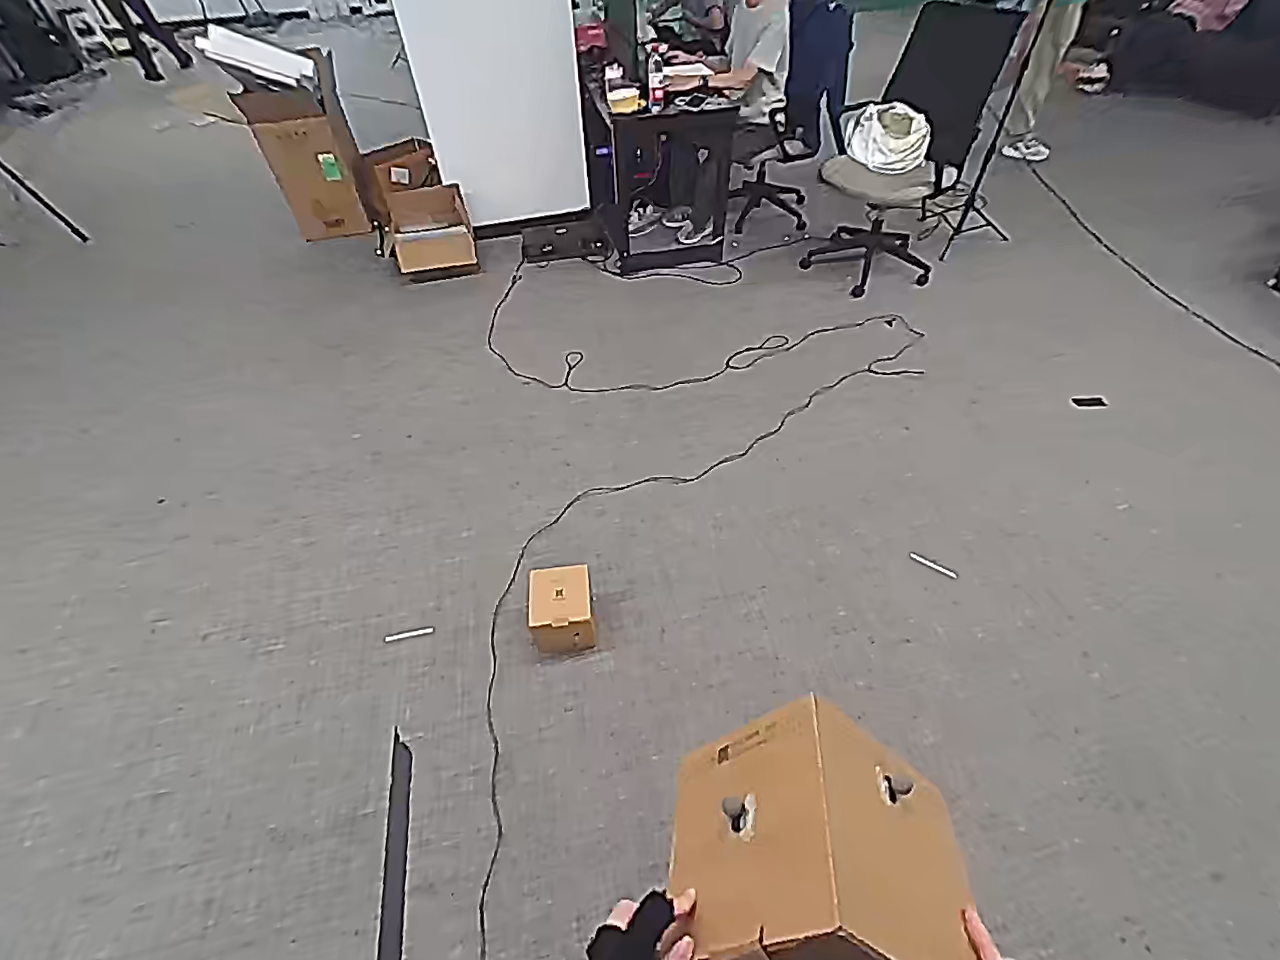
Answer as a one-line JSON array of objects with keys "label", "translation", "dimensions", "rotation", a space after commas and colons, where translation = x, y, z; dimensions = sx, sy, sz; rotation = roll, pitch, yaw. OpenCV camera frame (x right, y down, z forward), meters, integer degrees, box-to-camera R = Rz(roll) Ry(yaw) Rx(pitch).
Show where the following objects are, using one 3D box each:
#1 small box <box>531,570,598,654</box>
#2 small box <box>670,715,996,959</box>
[{"label": "small box", "translation": [-0.211, 0.381, 1.538], "dimensions": [0.168, 0.176, 0.179], "rotation": [-6, 49, -3]}, {"label": "small box", "translation": [0.148, 0.320, 0.441], "dimensions": [0.179, 0.168, 0.176], "rotation": [39, 31, -14]}]
